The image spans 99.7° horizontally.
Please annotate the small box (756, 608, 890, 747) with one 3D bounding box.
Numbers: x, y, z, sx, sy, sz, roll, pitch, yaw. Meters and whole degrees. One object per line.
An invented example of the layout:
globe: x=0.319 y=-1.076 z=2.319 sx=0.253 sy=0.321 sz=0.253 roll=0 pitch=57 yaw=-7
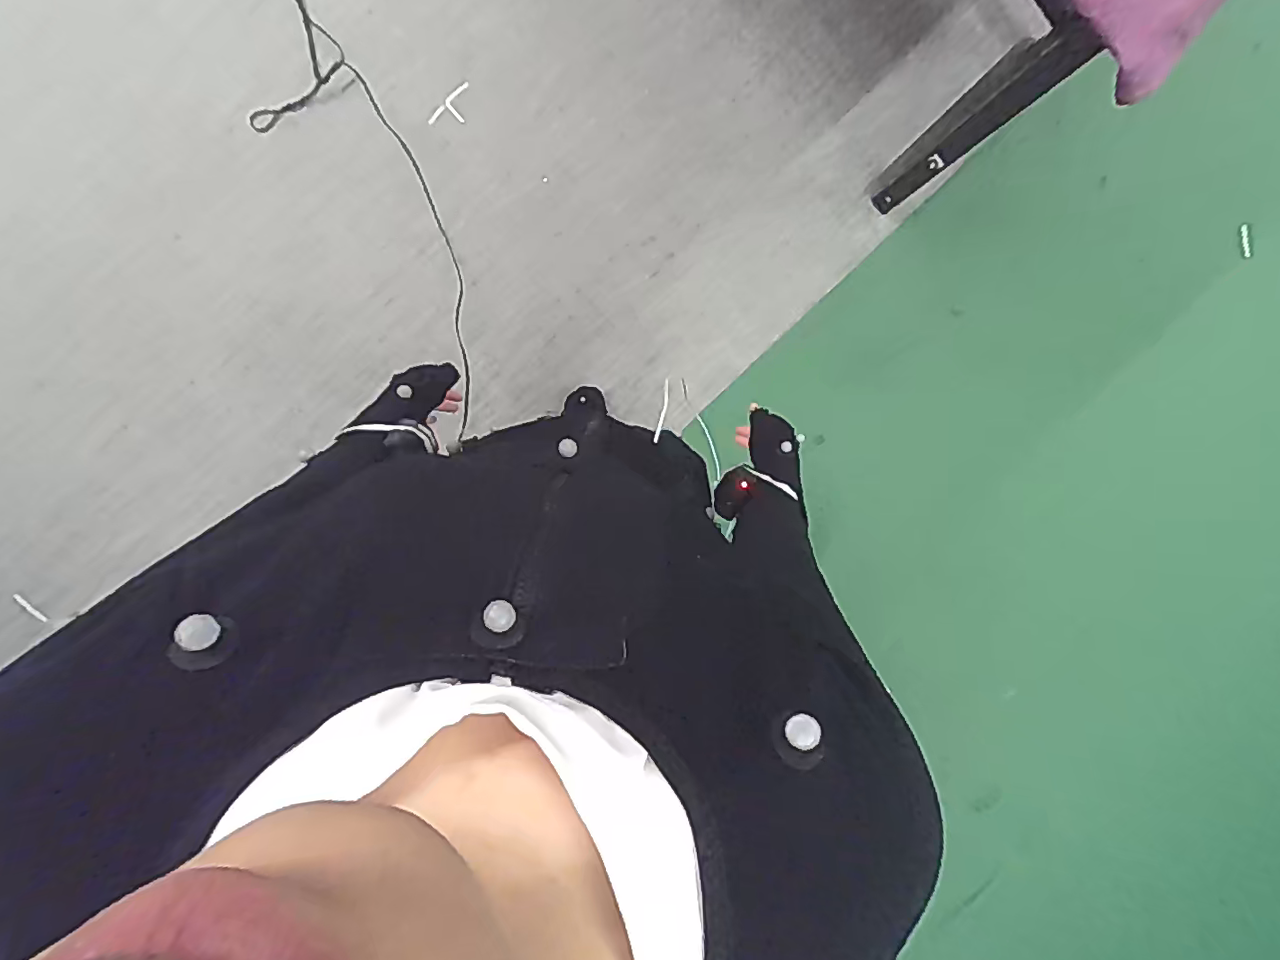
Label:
small box: x=0.369 y=0.400 z=1.127 sx=0.179 sy=0.176 sz=0.168 roll=-44 pitch=97 yaw=5
